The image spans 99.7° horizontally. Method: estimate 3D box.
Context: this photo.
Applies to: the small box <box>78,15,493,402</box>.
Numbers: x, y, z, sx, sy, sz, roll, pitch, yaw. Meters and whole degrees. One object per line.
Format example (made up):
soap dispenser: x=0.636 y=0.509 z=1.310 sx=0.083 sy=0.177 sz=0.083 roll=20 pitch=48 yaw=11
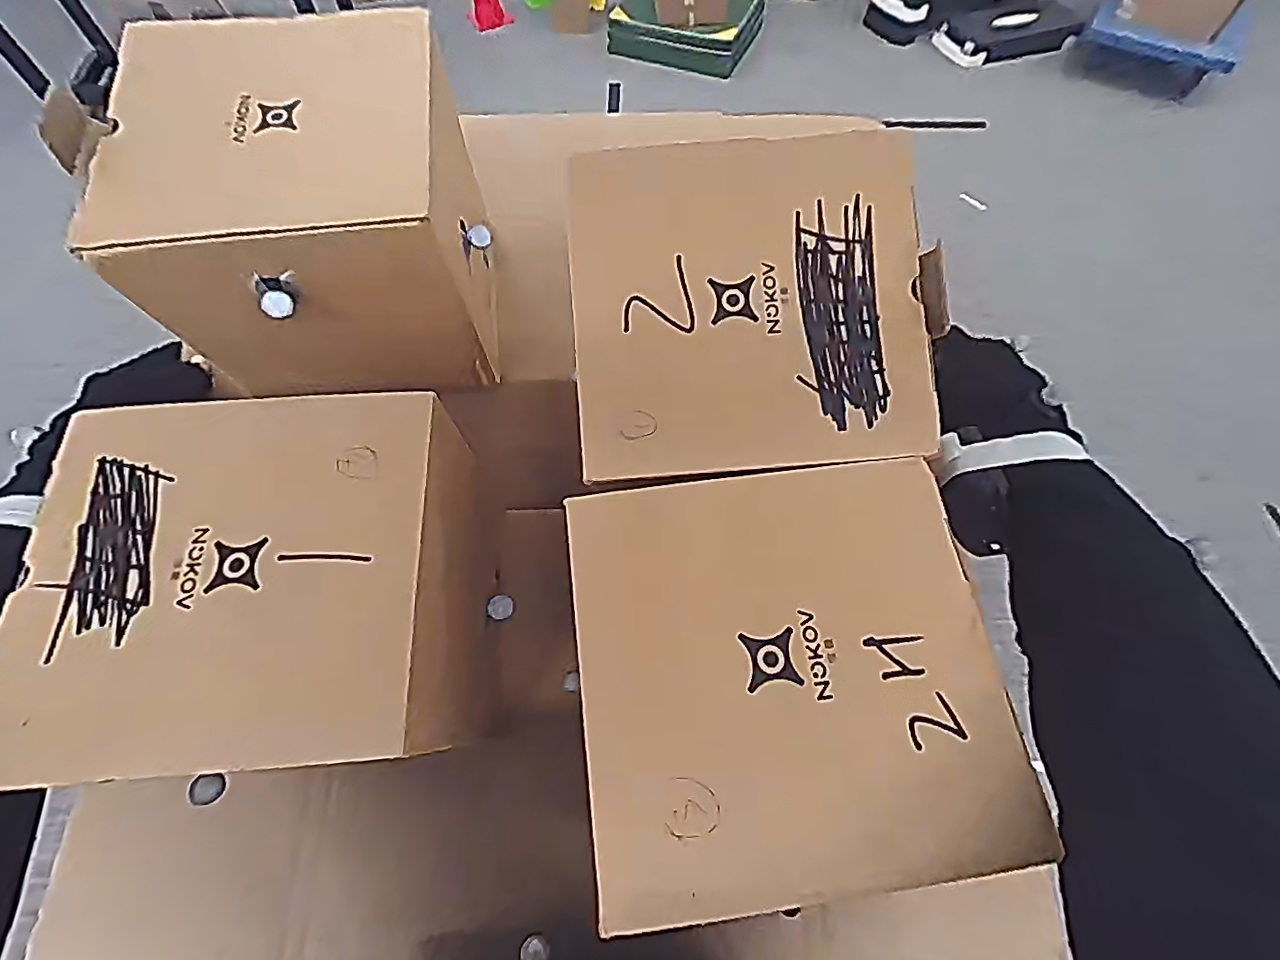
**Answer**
small box: x=-0.204 y=-0.170 z=0.374 sx=0.179 sy=0.176 sz=0.168 roll=-7 pitch=70 yaw=-3
